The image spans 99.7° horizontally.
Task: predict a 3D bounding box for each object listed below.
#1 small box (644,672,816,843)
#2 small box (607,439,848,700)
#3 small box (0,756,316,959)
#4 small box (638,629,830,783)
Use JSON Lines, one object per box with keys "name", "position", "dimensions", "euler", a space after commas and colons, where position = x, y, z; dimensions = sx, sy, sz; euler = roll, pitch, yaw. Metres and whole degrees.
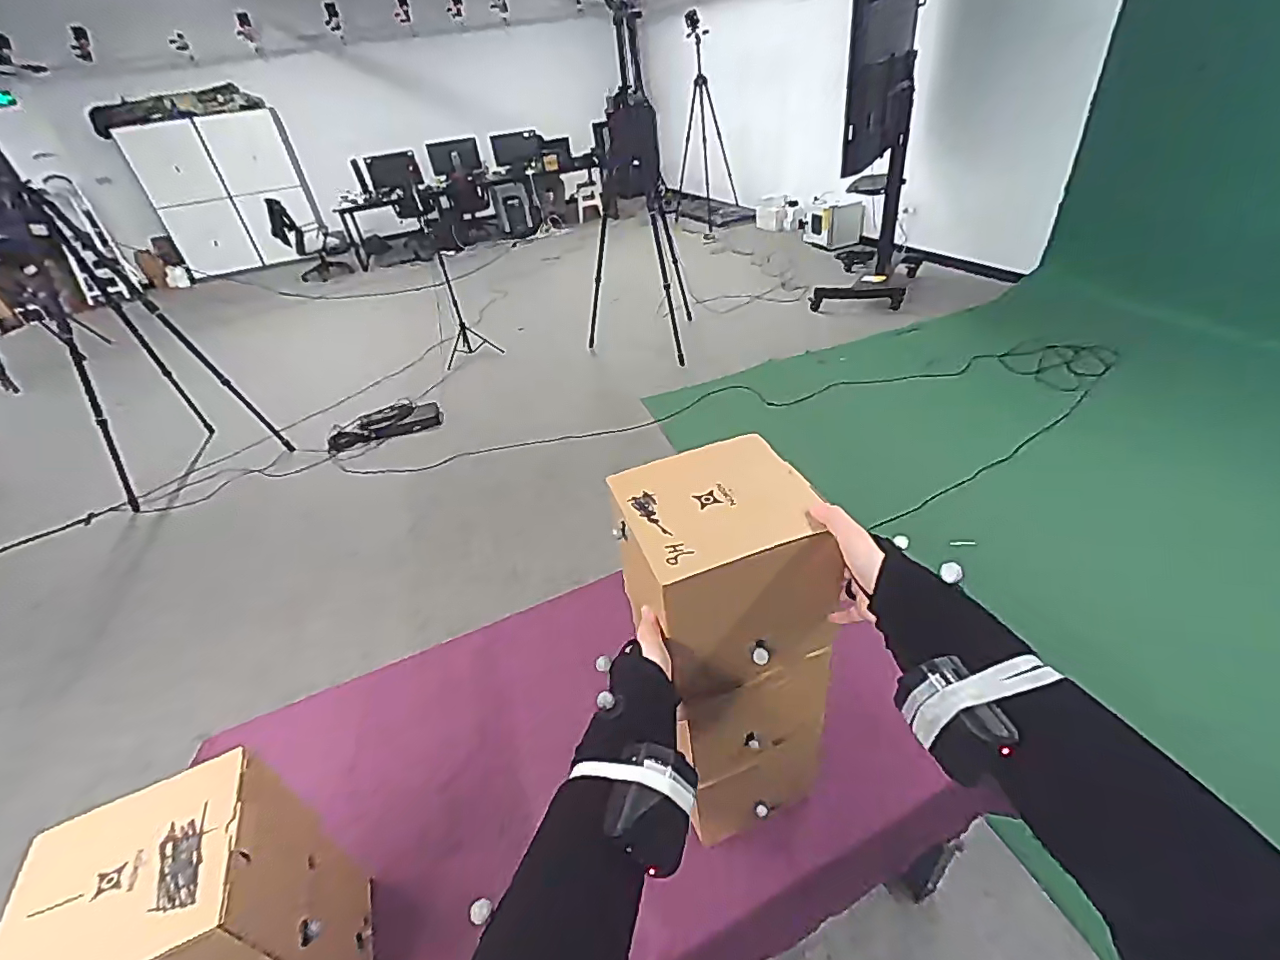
{"name": "small box", "position": [0.117, 0.348, 0.742], "dimensions": [0.168, 0.176, 0.179], "euler": [-19, 37, -12]}
{"name": "small box", "position": [0.078, 0.086, 0.548], "dimensions": [0.179, 0.176, 0.168], "euler": [-16, 36, -12]}
{"name": "small box", "position": [-0.426, 0.404, 0.499], "dimensions": [0.179, 0.176, 0.168], "euler": [-21, 38, -17]}
{"name": "small box", "position": [0.099, 0.216, 0.647], "dimensions": [0.168, 0.176, 0.179], "euler": [-18, 38, -13]}
